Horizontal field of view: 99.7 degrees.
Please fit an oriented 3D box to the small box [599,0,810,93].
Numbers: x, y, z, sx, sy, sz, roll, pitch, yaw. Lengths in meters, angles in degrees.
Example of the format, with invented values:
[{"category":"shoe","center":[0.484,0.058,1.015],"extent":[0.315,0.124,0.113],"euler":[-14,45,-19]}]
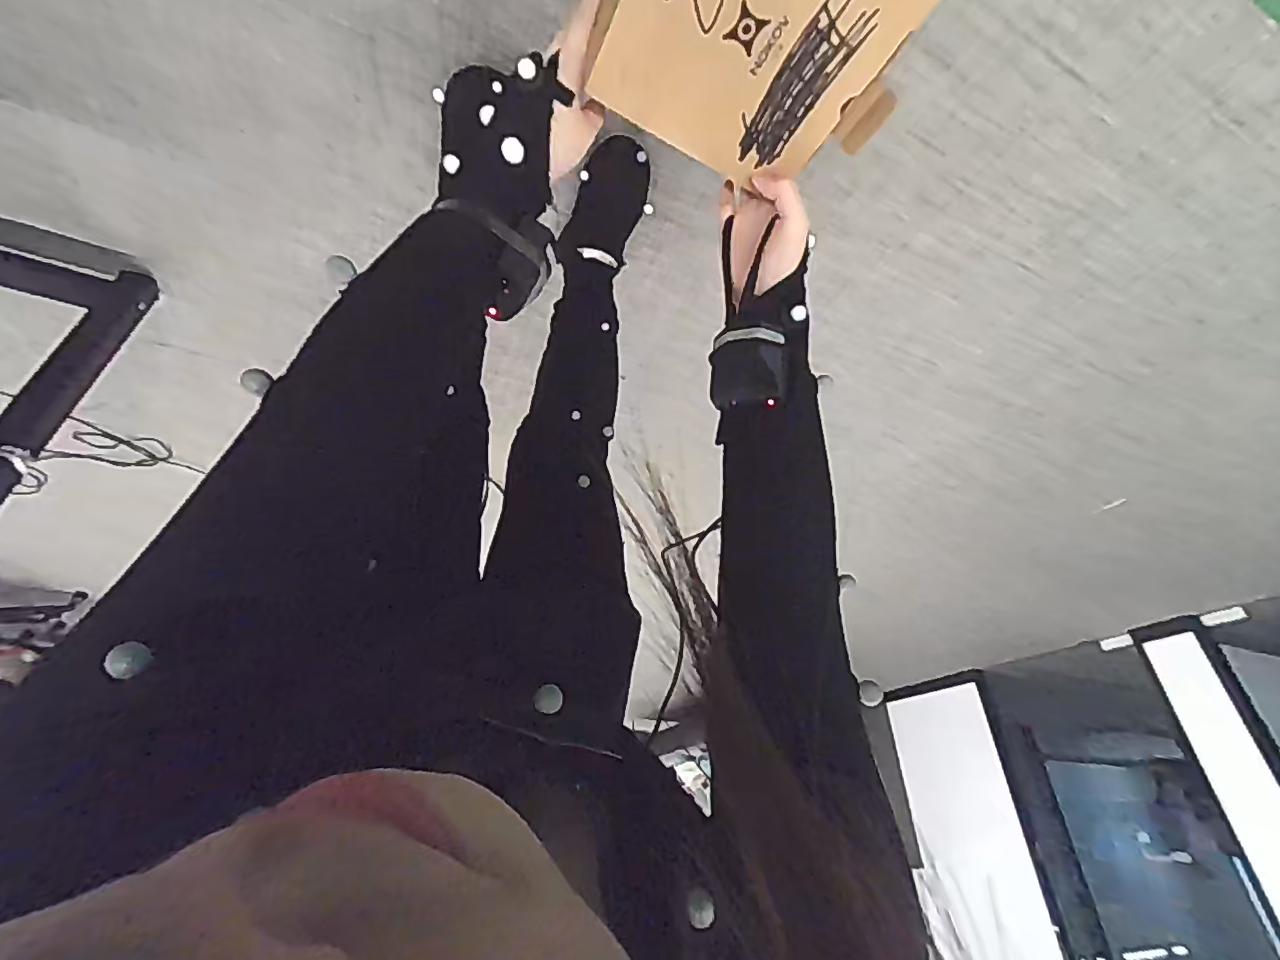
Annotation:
[{"category":"small box","center":[0.073,-0.493,0.461],"extent":[0.168,0.176,0.179],"euler":[14,145,-22]}]
